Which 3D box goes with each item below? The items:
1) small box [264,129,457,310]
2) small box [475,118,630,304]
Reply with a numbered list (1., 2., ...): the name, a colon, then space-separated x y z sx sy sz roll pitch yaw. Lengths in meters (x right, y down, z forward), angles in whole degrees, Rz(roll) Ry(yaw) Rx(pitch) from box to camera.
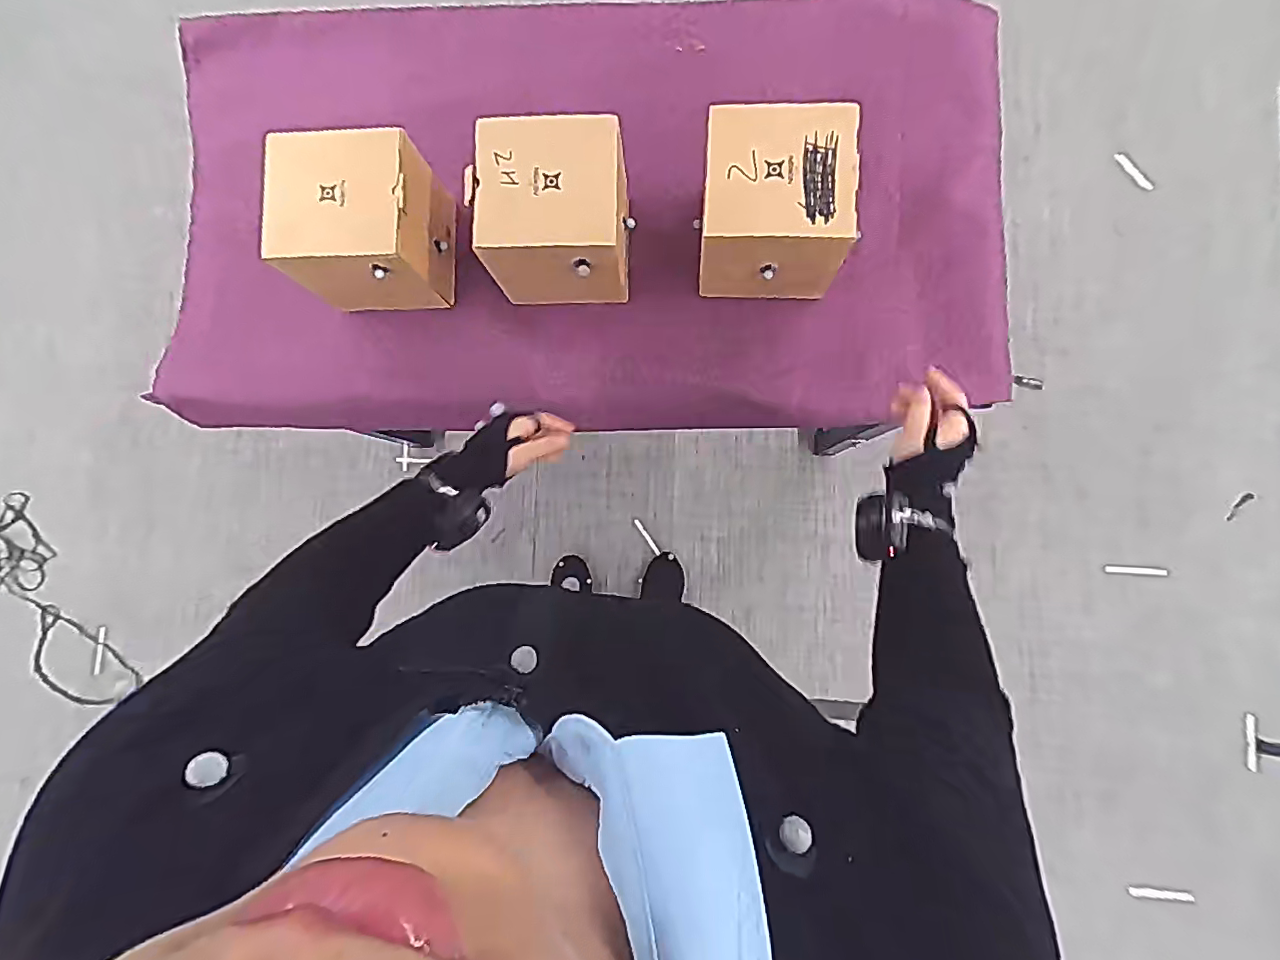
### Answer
1. small box: -0.371 -0.344 0.744 0.179 0.176 0.168 -1 85 3
2. small box: -0.105 -0.348 0.726 0.179 0.176 0.168 0 85 4
